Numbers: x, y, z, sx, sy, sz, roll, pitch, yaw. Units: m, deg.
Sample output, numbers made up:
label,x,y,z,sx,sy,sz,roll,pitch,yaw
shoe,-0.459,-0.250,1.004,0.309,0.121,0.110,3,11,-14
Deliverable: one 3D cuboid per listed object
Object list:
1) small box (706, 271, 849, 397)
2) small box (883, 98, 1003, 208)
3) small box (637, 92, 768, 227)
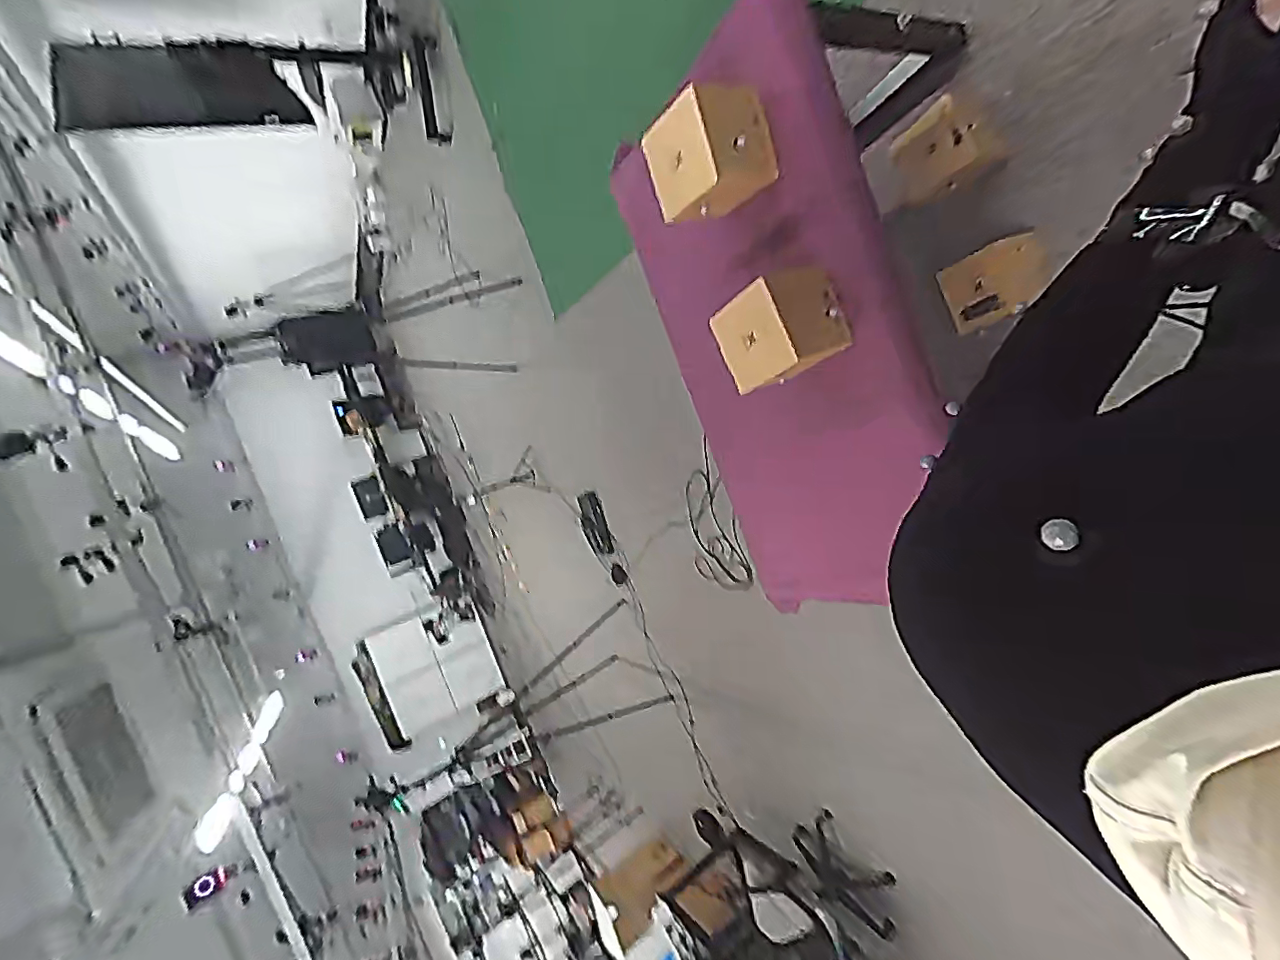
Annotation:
label,x,y,z,sx,sy,sz,roll,pitch,yaw
small box,0.266,-0.282,1.053,0.179,0.176,0.168,-25,88,61
small box,0.760,-0.817,1.359,0.179,0.176,0.168,-30,83,60
small box,0.128,-0.621,1.052,0.179,0.176,0.168,-4,107,60
